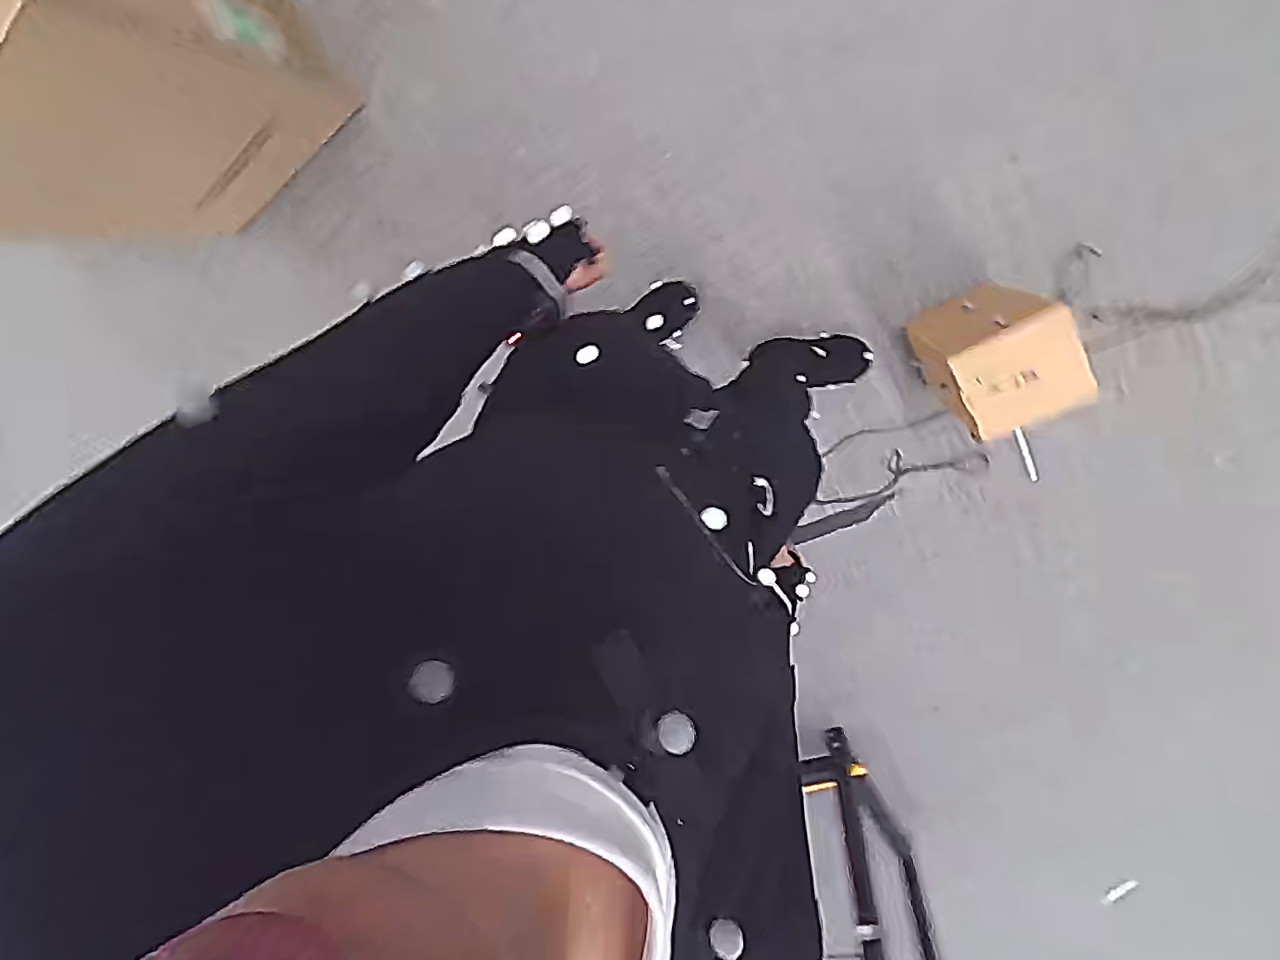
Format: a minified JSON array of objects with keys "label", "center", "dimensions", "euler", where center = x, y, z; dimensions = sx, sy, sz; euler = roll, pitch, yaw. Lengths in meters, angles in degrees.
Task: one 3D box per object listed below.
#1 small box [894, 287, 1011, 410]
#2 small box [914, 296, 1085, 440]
[{"label":"small box","center":[0.644,-0.271,1.092],"dimensions":[0.179,0.176,0.168],"euler":[-25,107,22]},{"label":"small box","center":[0.614,-0.202,0.945],"dimensions":[0.179,0.176,0.168],"euler":[-27,106,22]}]
